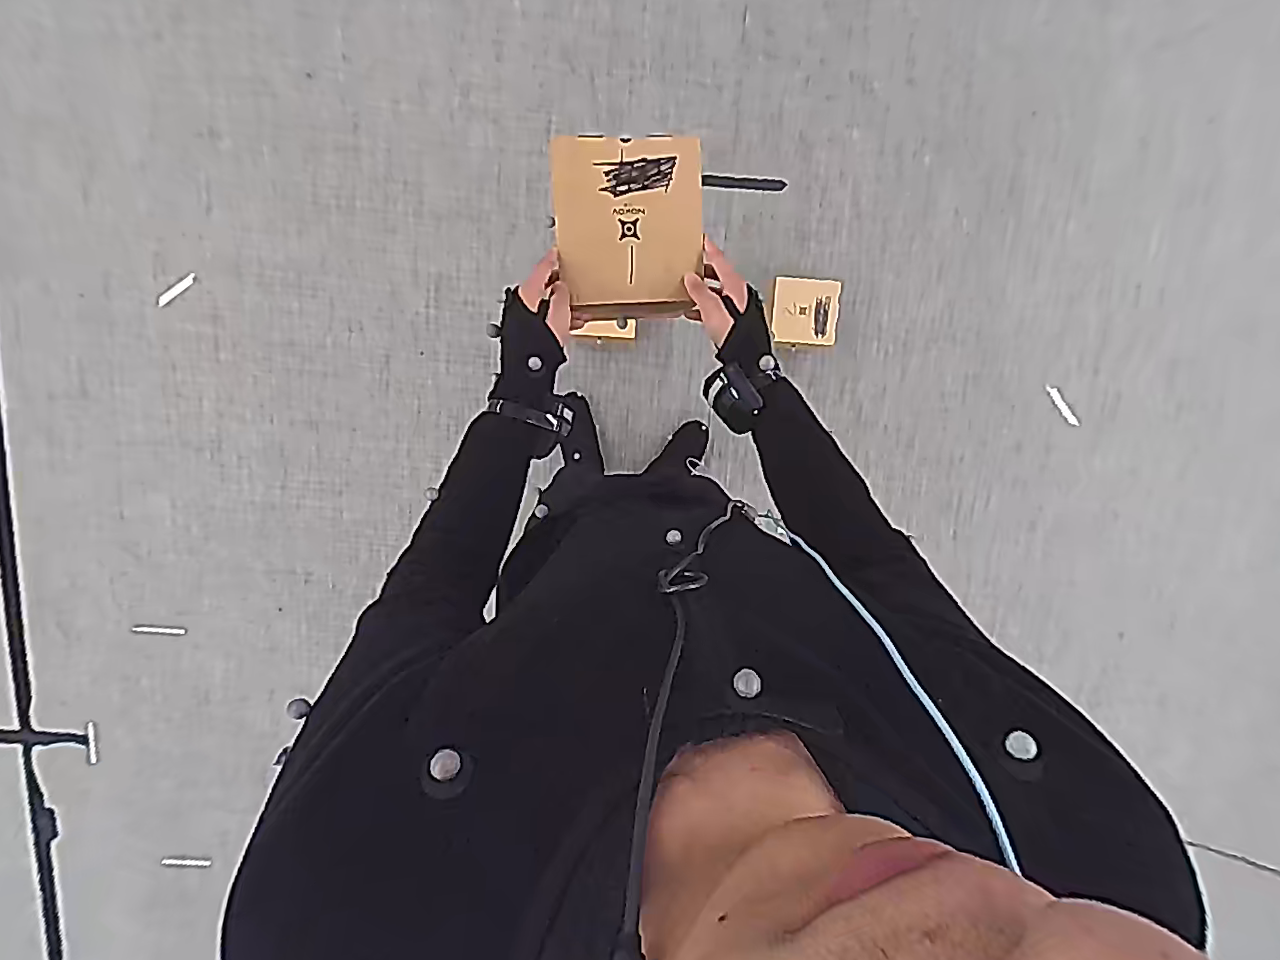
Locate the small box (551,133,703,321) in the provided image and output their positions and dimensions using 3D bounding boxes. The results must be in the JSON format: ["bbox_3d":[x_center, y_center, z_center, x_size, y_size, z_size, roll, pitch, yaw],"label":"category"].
[{"bbox_3d":[-0.021,-0.300,0.672,0.168,0.176,0.179,-4,101,-5],"label":"small box"}]

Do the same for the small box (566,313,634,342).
[{"bbox_3d":[-0.105,-0.474,1.481,0.179,0.176,0.168,3,99,-2],"label":"small box"}]
